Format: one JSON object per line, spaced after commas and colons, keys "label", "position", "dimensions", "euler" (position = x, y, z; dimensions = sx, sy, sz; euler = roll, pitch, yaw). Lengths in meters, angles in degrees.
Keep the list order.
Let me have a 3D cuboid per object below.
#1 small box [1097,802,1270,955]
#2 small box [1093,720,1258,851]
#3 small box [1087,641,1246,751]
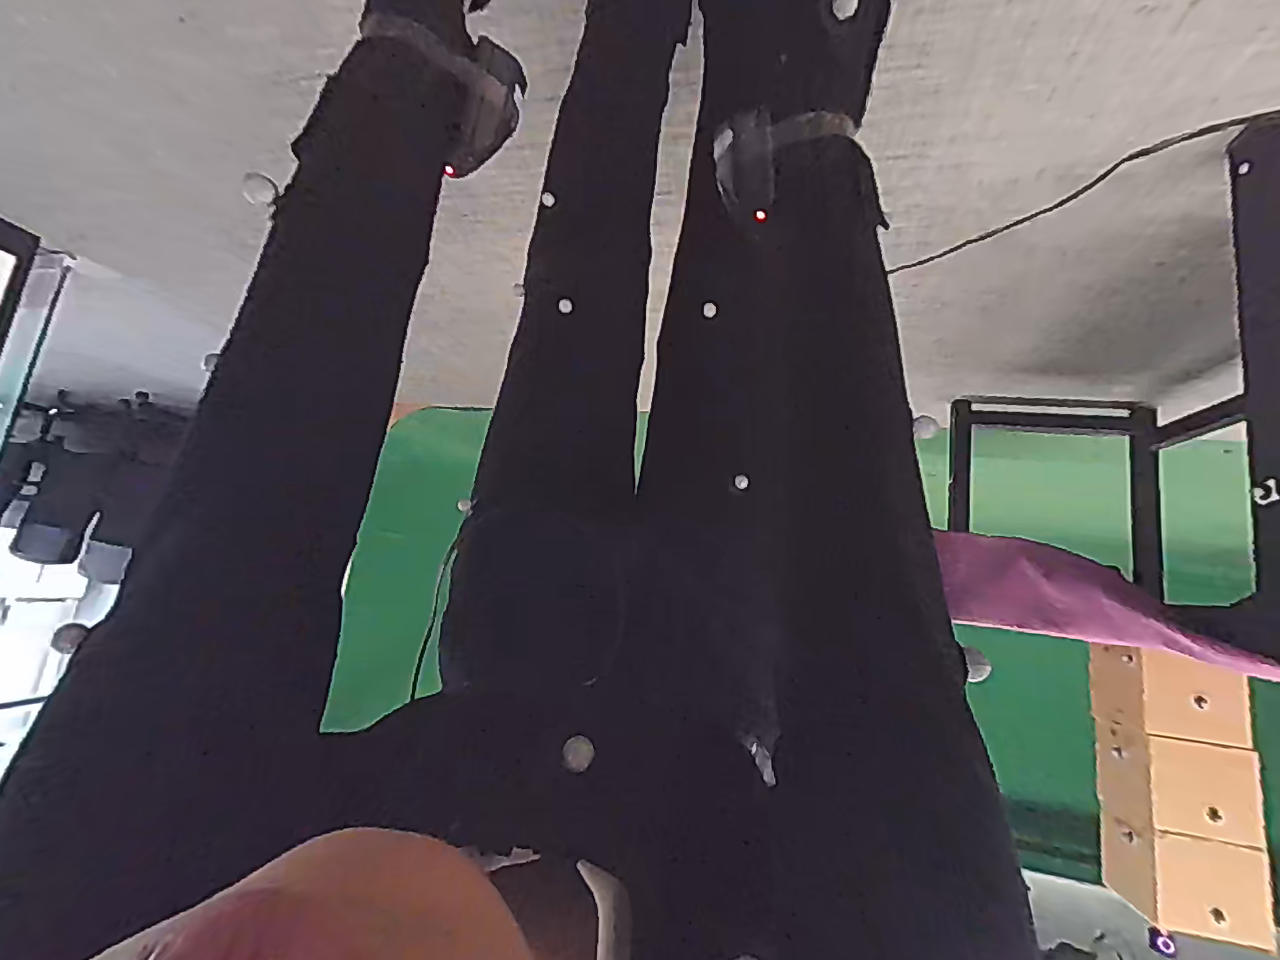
{"label": "small box", "position": [1.029, 0.750, 1.040], "dimensions": [0.179, 0.176, 0.168], "euler": [5, 168, 12]}
{"label": "small box", "position": [1.045, 0.590, 1.071], "dimensions": [0.179, 0.176, 0.168], "euler": [5, 169, 12]}
{"label": "small box", "position": [1.058, 0.430, 1.105], "dimensions": [0.179, 0.176, 0.168], "euler": [5, 169, 11]}
